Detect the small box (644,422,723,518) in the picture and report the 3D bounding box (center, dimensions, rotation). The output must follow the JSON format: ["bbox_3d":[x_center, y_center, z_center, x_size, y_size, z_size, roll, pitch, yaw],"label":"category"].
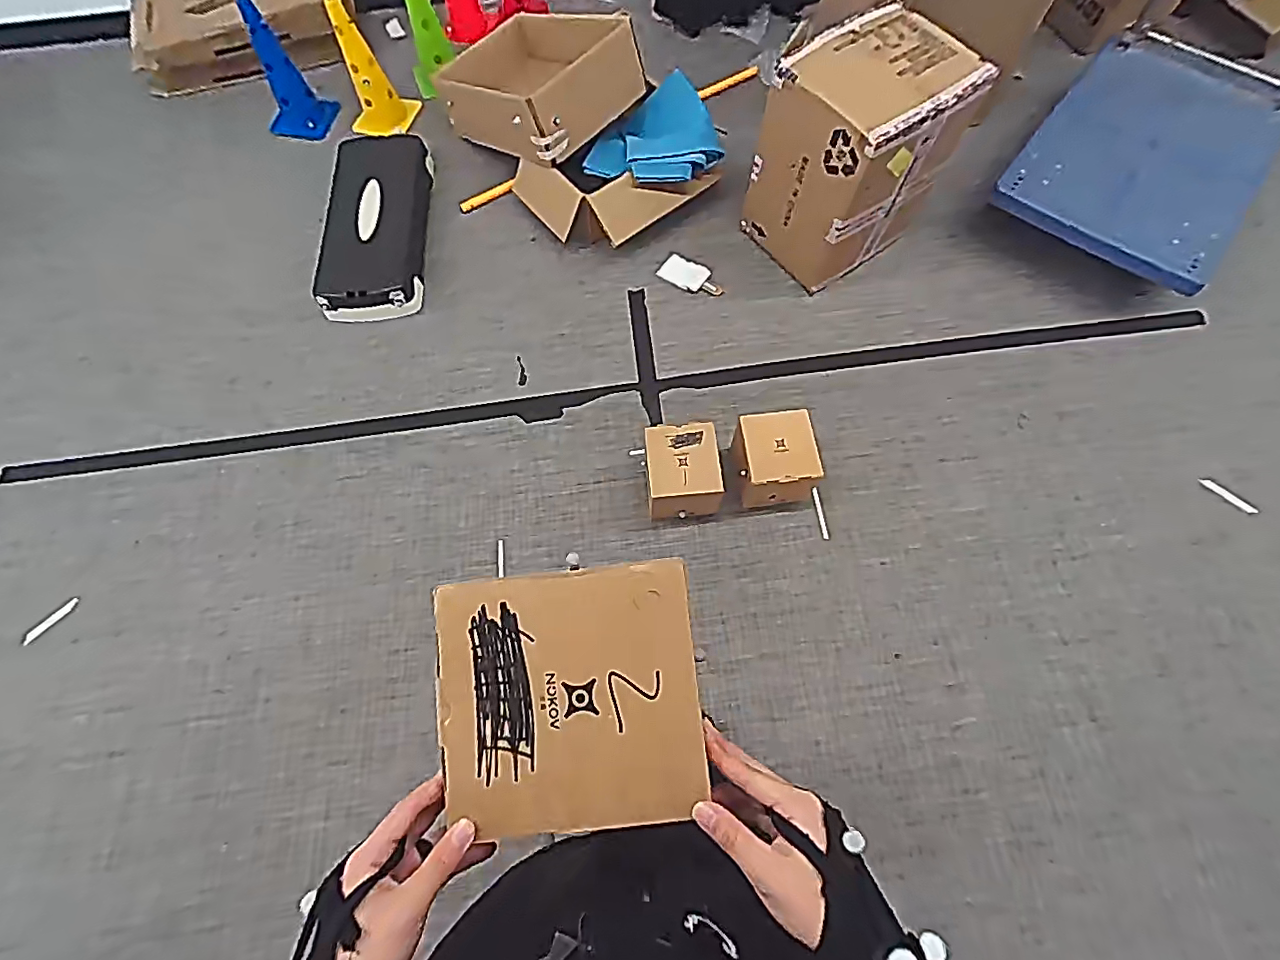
[{"bbox_3d":[0.098,-0.021,1.305,0.168,0.176,0.179,-5,69,-1],"label":"small box"}]

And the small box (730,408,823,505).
[{"bbox_3d":[0.323,-0.053,1.317,0.168,0.176,0.179,-7,69,-2],"label":"small box"}]
